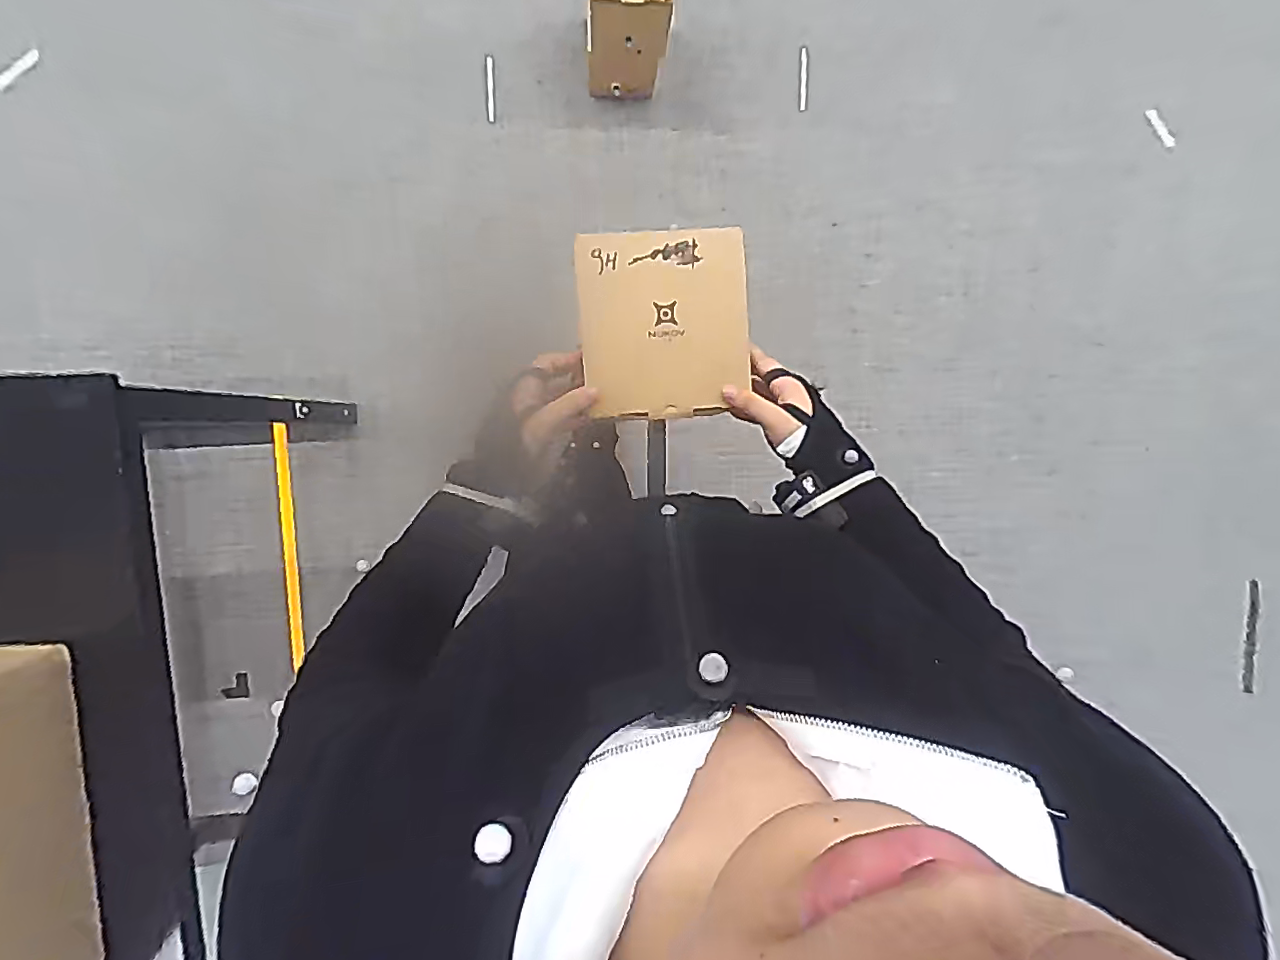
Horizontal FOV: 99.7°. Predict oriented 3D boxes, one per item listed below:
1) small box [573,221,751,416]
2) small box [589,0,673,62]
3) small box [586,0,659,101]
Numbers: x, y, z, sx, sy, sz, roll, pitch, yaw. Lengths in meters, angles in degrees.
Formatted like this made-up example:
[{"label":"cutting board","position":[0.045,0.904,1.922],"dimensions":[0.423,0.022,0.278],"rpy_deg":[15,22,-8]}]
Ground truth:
[{"label":"small box","position":[0.018,-0.164,0.598],"dimensions":[0.168,0.176,0.179],"rpy_deg":[-5,96,-4]},{"label":"small box","position":[-0.023,-1.018,1.119],"dimensions":[0.168,0.176,0.179],"rpy_deg":[-1,96,-3]},{"label":"small box","position":[-0.044,-1.043,1.281],"dimensions":[0.168,0.176,0.179],"rpy_deg":[-2,97,-4]}]
